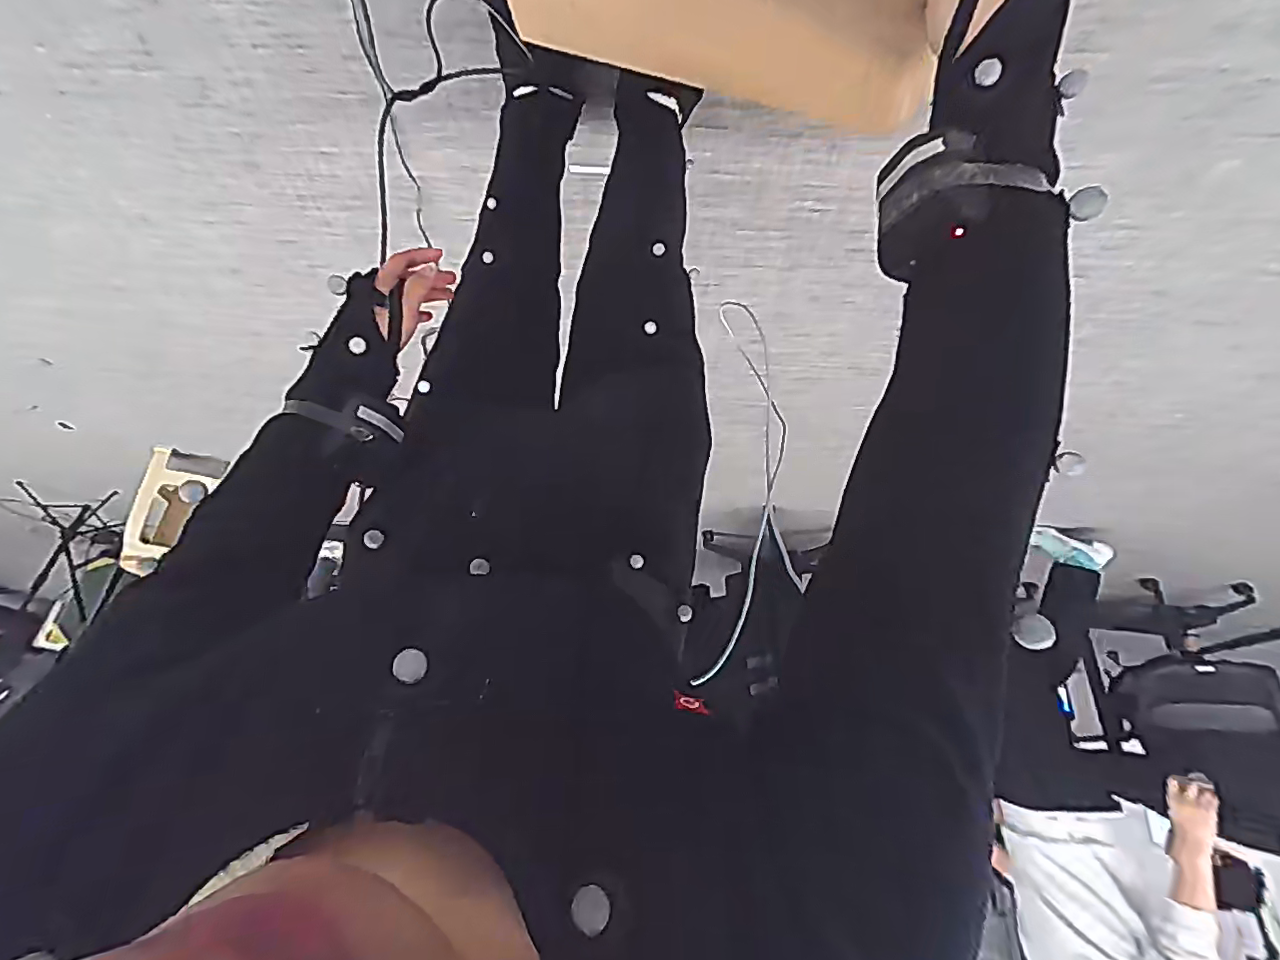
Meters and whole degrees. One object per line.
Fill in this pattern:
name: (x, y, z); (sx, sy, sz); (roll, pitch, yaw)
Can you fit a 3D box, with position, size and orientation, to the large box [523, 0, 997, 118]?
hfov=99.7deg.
large box: (0.114, -0.552, 0.402); (0.408, 0.320, 0.320); (30, 162, 20)
